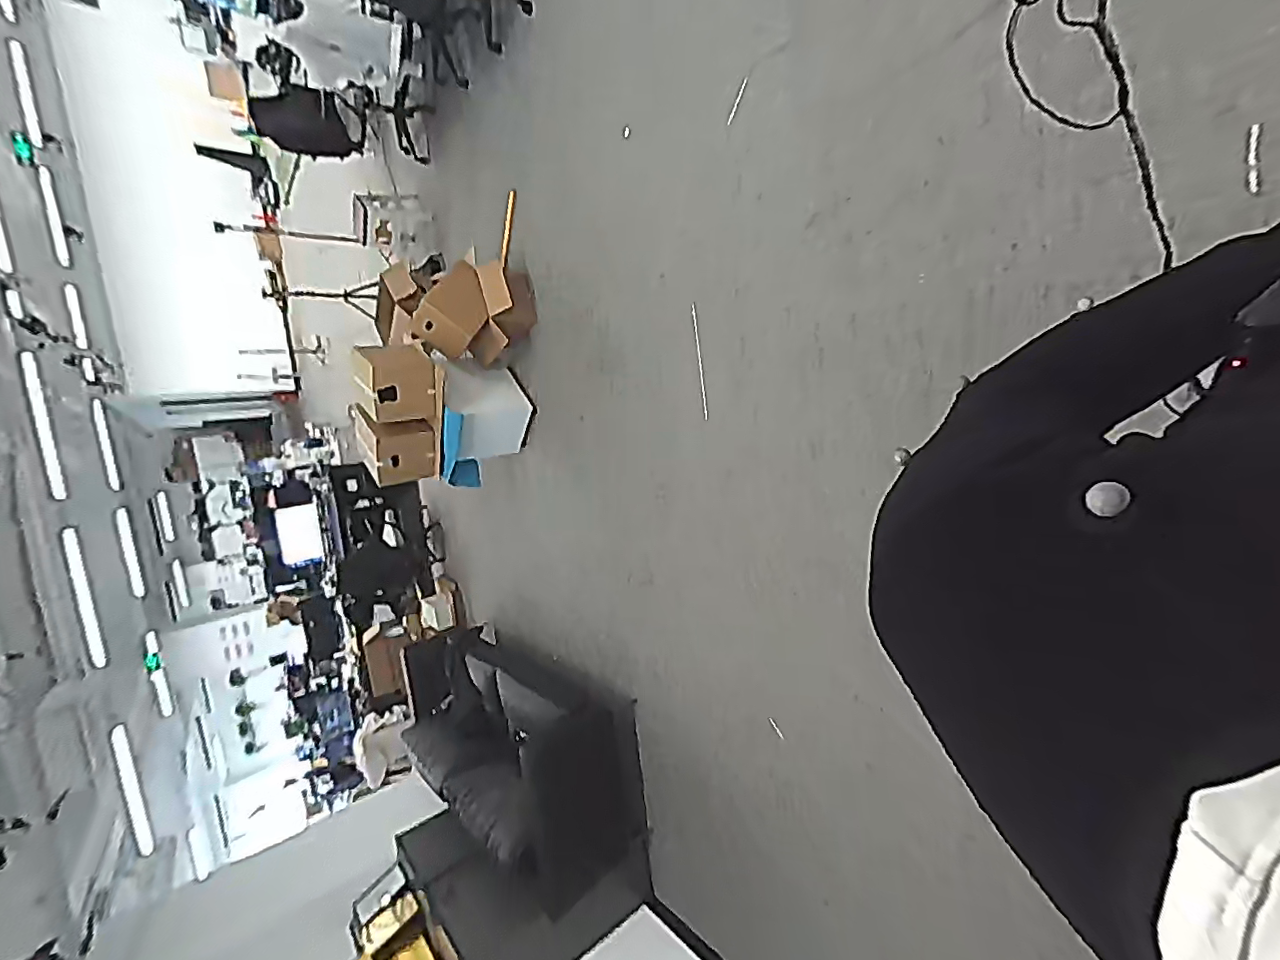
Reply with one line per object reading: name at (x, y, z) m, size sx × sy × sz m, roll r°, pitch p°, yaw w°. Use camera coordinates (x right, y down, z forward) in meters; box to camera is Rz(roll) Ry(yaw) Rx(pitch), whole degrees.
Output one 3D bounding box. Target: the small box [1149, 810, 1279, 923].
small box at (1.103, 0.794, 1.042) m, size 0.168 × 0.176 × 0.179 m, roll 10°, pitch 106°, yaw 50°
